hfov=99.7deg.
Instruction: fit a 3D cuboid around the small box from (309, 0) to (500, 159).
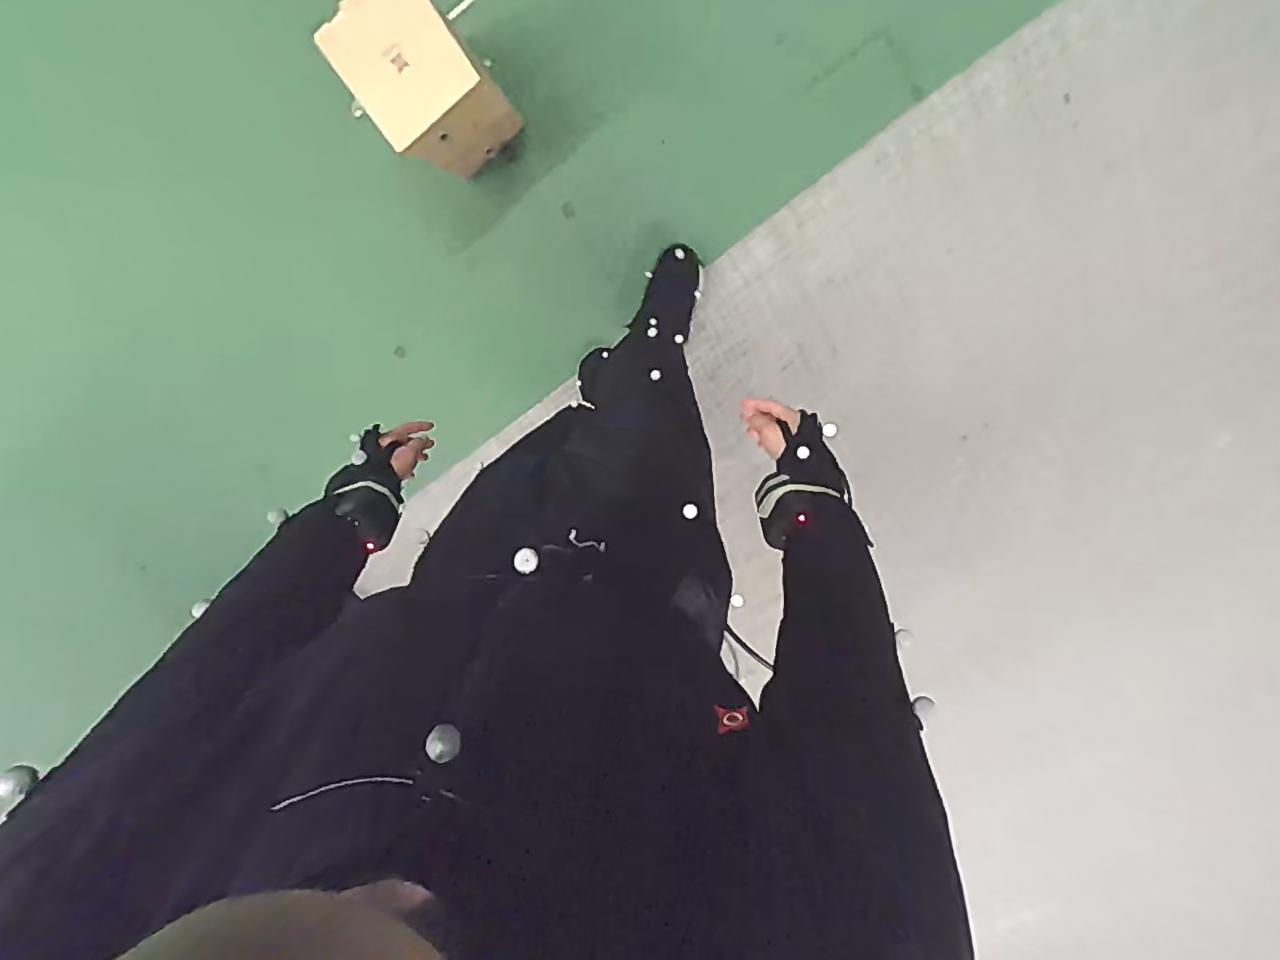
[{"bbox_3d":[-0.343,-0.625,0.829,0.168,0.176,0.179,-33,108,14],"label":"small box"}]
